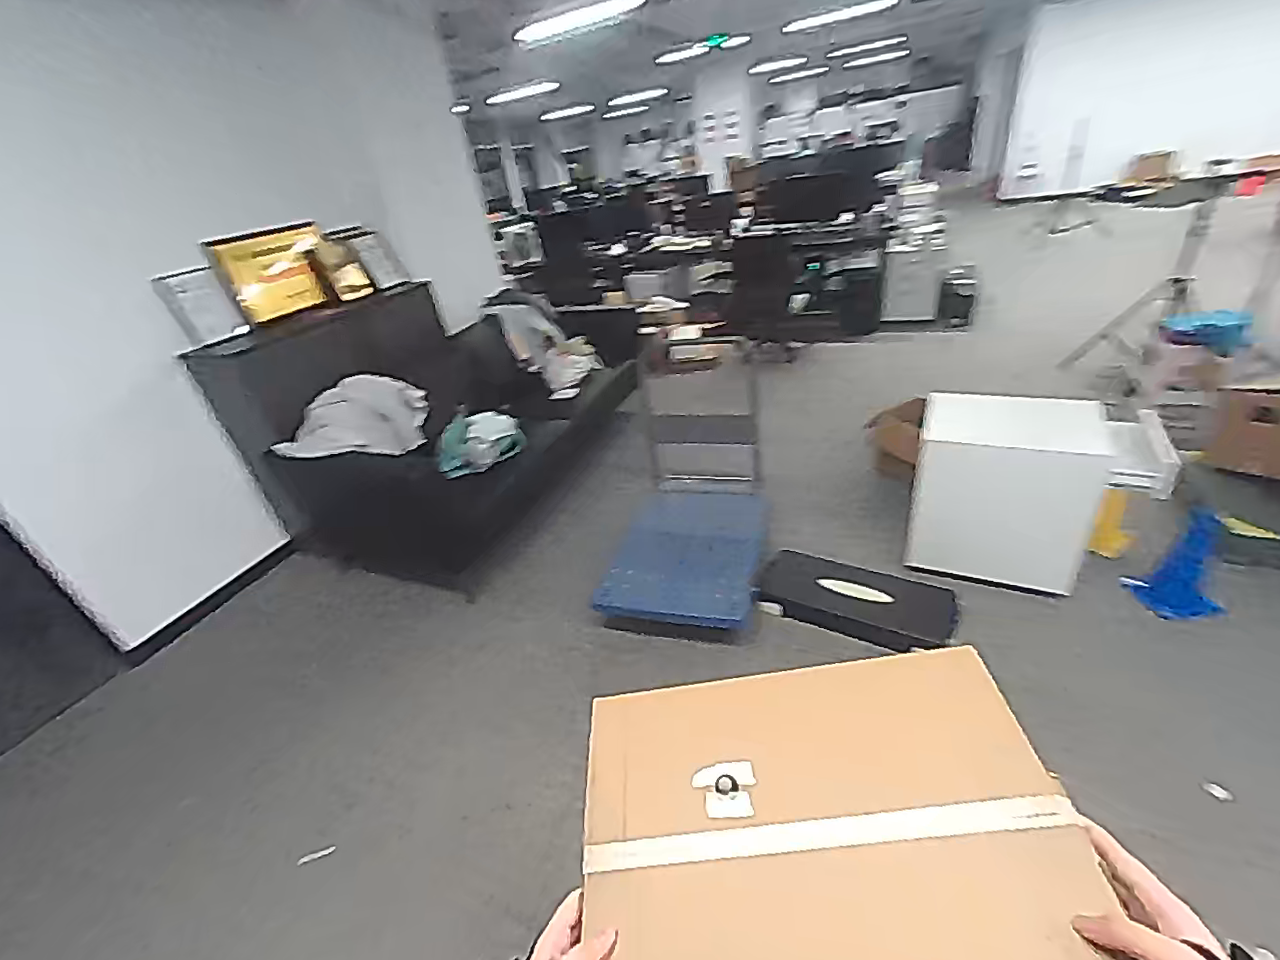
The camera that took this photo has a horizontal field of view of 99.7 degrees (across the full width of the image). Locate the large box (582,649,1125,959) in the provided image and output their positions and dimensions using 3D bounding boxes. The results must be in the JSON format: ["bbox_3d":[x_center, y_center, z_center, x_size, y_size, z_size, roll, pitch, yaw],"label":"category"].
[{"bbox_3d":[0.182,0.425,0.563,0.408,0.320,0.320,-13,38,9],"label":"large box"}]
